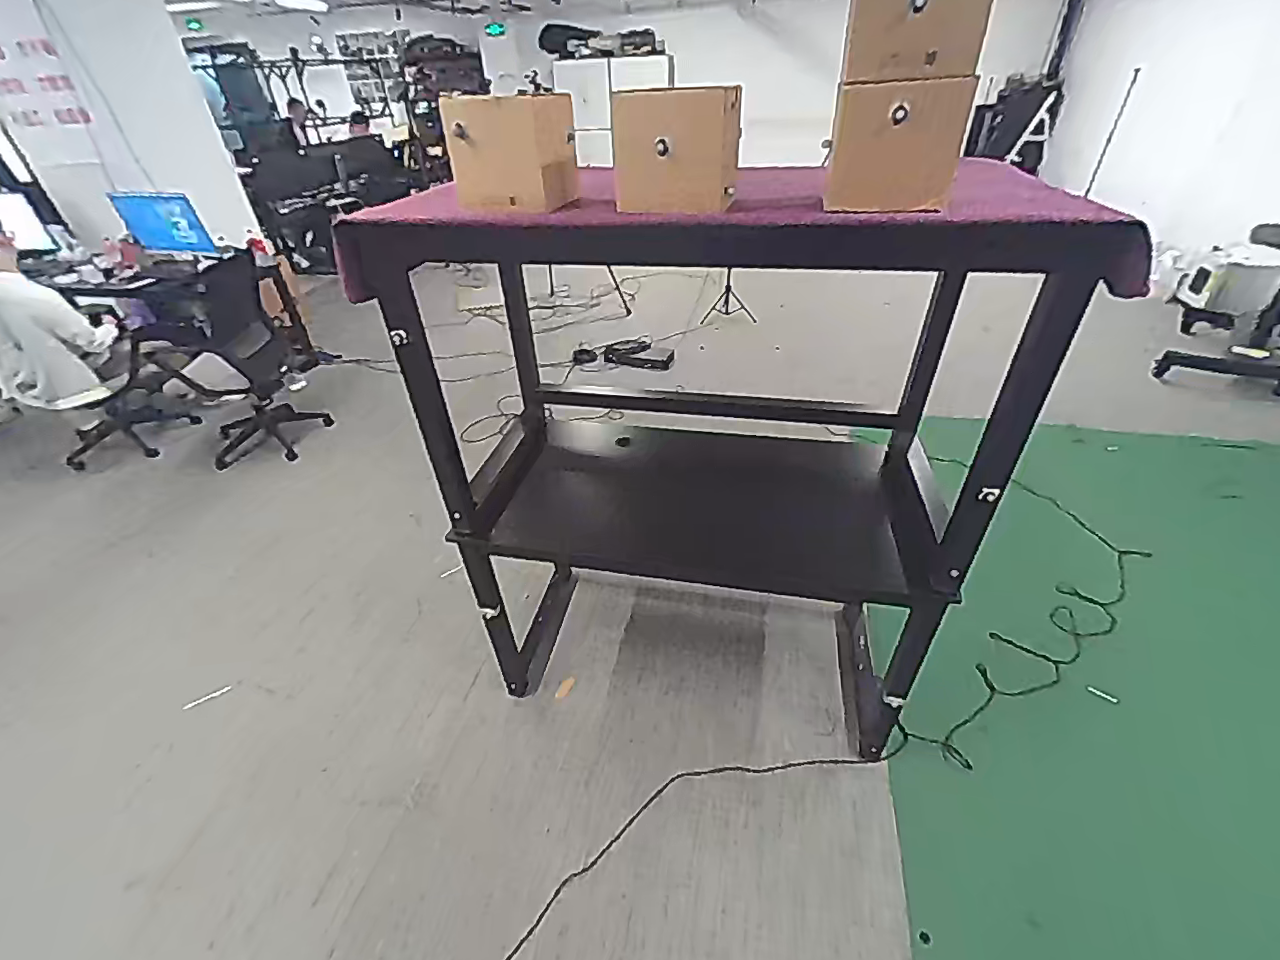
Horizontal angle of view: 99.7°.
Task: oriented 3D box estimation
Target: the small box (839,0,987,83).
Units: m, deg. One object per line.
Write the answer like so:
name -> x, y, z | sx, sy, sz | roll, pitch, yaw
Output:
small box -> 0.375, -0.655, 0.748 | 0.168, 0.176, 0.179 | 7, 38, 14

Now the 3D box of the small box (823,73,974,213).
small box -> 0.384, -0.518, 0.839 | 0.179, 0.176, 0.168 | 7, 38, 14

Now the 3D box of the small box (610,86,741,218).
small box -> 0.065, -0.541, 0.893 | 0.179, 0.176, 0.168 | 7, 37, 16
